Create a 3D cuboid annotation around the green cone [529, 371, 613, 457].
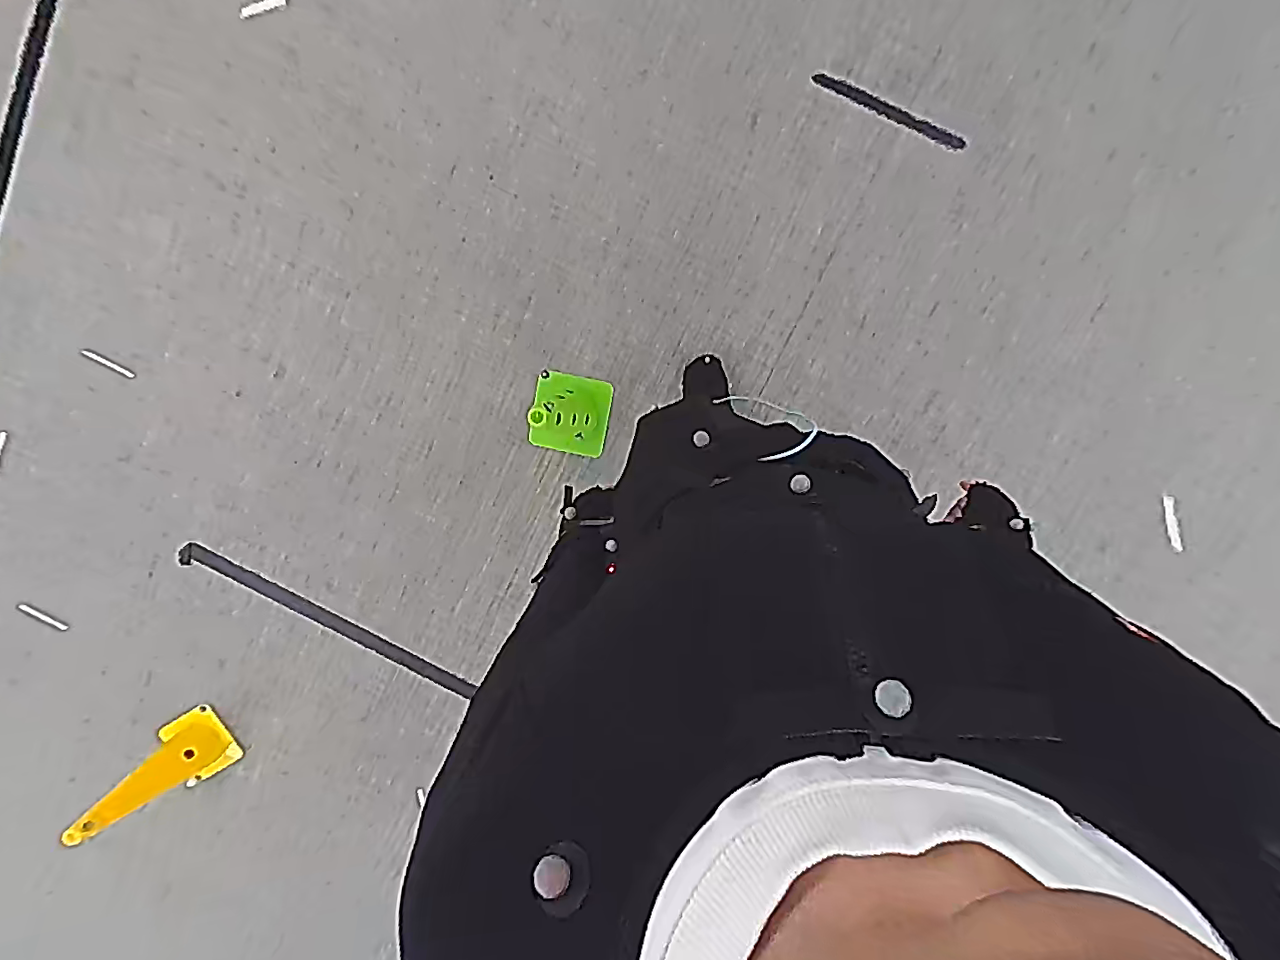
[{"bbox_3d":[-0.190,-0.145,1.243,0.202,0.368,0.200,11,99,1],"label":"green cone"}]
